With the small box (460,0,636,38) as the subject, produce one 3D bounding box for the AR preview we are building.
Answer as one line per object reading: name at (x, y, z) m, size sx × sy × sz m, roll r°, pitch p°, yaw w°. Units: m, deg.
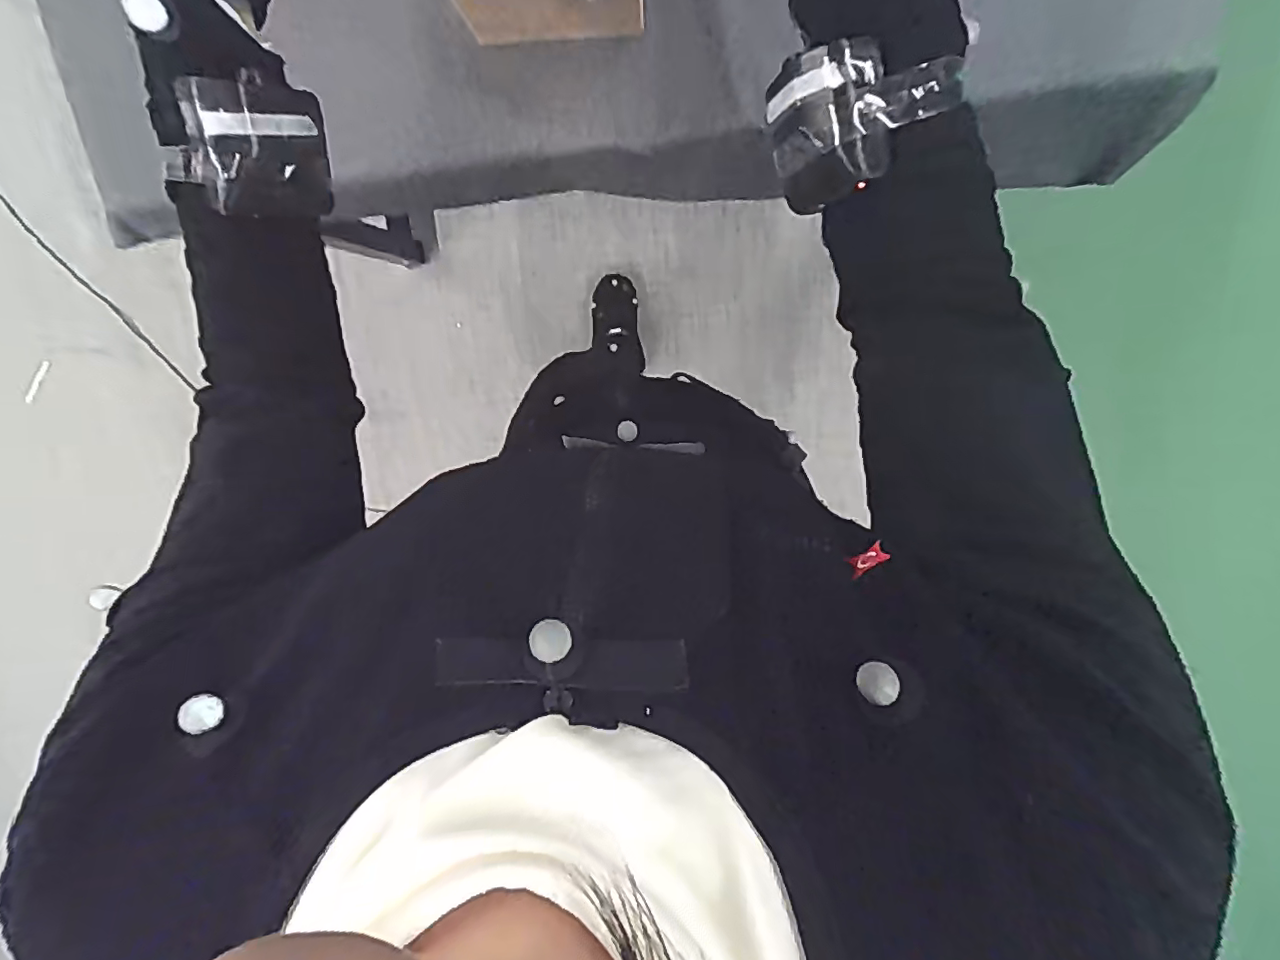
small box at (-0.090, -0.528, 0.471) m, size 0.179 × 0.176 × 0.168 m, roll -1°, pitch 104°, yaw 4°
